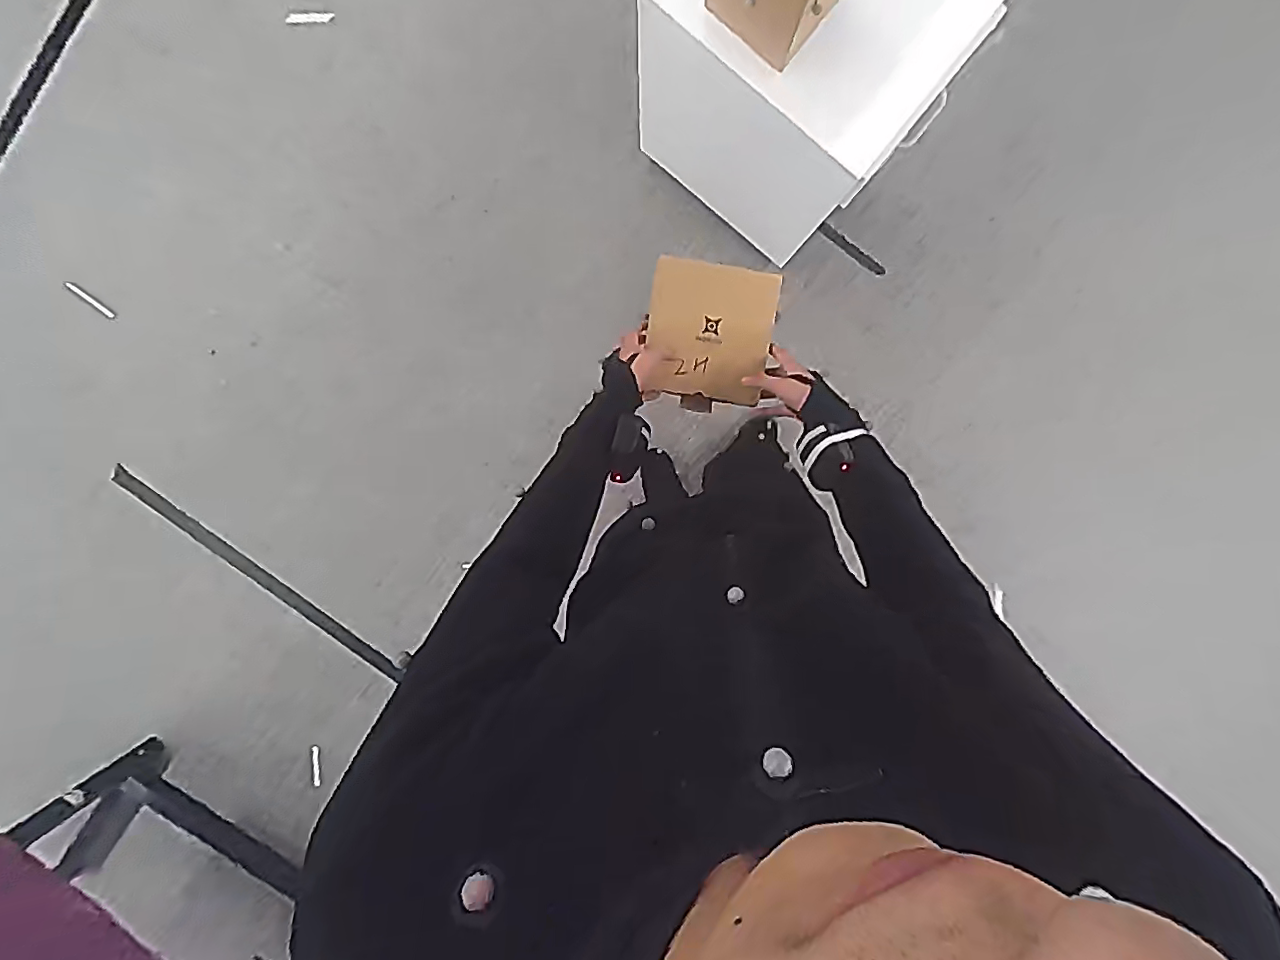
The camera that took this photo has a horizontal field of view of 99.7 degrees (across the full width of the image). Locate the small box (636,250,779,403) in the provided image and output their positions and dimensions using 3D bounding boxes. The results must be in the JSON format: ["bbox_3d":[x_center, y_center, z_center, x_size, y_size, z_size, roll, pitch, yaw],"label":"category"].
[{"bbox_3d":[0.086,-0.215,0.793,0.168,0.176,0.179,9,100,-3],"label":"small box"}]
